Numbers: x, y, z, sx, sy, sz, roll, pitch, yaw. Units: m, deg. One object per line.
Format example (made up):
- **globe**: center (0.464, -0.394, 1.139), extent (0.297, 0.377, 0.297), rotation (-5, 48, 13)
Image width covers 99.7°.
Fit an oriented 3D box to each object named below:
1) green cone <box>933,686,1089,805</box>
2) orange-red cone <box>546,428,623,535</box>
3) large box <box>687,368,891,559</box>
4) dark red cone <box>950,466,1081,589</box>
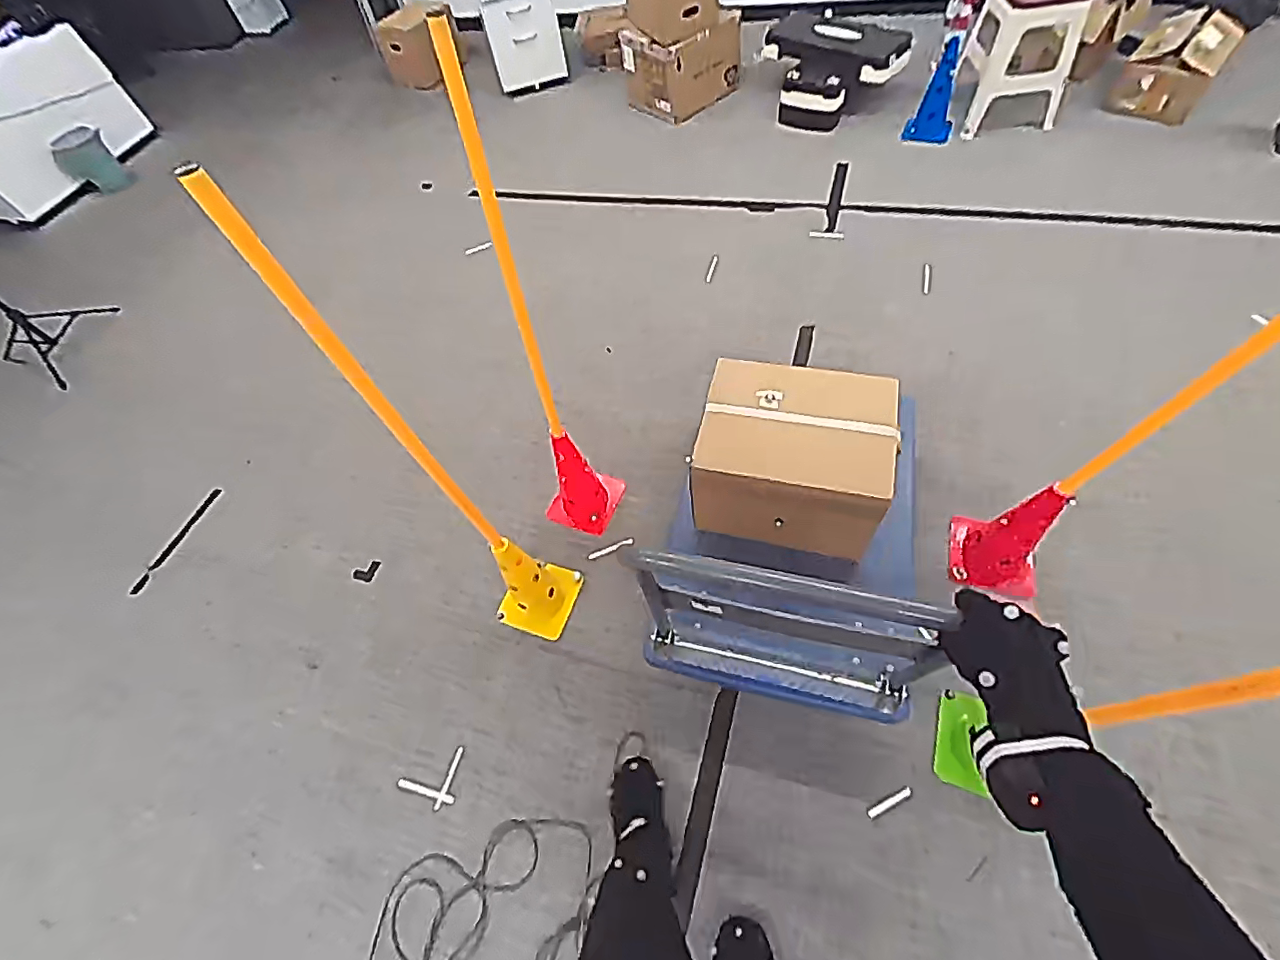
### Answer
- **green cone**: center (0.752, 0.500, 1.066), extent (0.202, 0.368, 0.200), rotation (15, 62, 15)
- **orange-red cone**: center (-0.191, -0.028, 1.539), extent (0.198, 0.360, 0.199), rotation (18, 61, 17)
- **large box**: center (0.348, -0.034, 1.291), extent (0.408, 0.320, 0.320), rotation (9, 61, 15)
- **dark red cone**: center (0.907, 0.091, 1.278), extent (0.201, 0.394, 0.202), rotation (12, 61, 13)
